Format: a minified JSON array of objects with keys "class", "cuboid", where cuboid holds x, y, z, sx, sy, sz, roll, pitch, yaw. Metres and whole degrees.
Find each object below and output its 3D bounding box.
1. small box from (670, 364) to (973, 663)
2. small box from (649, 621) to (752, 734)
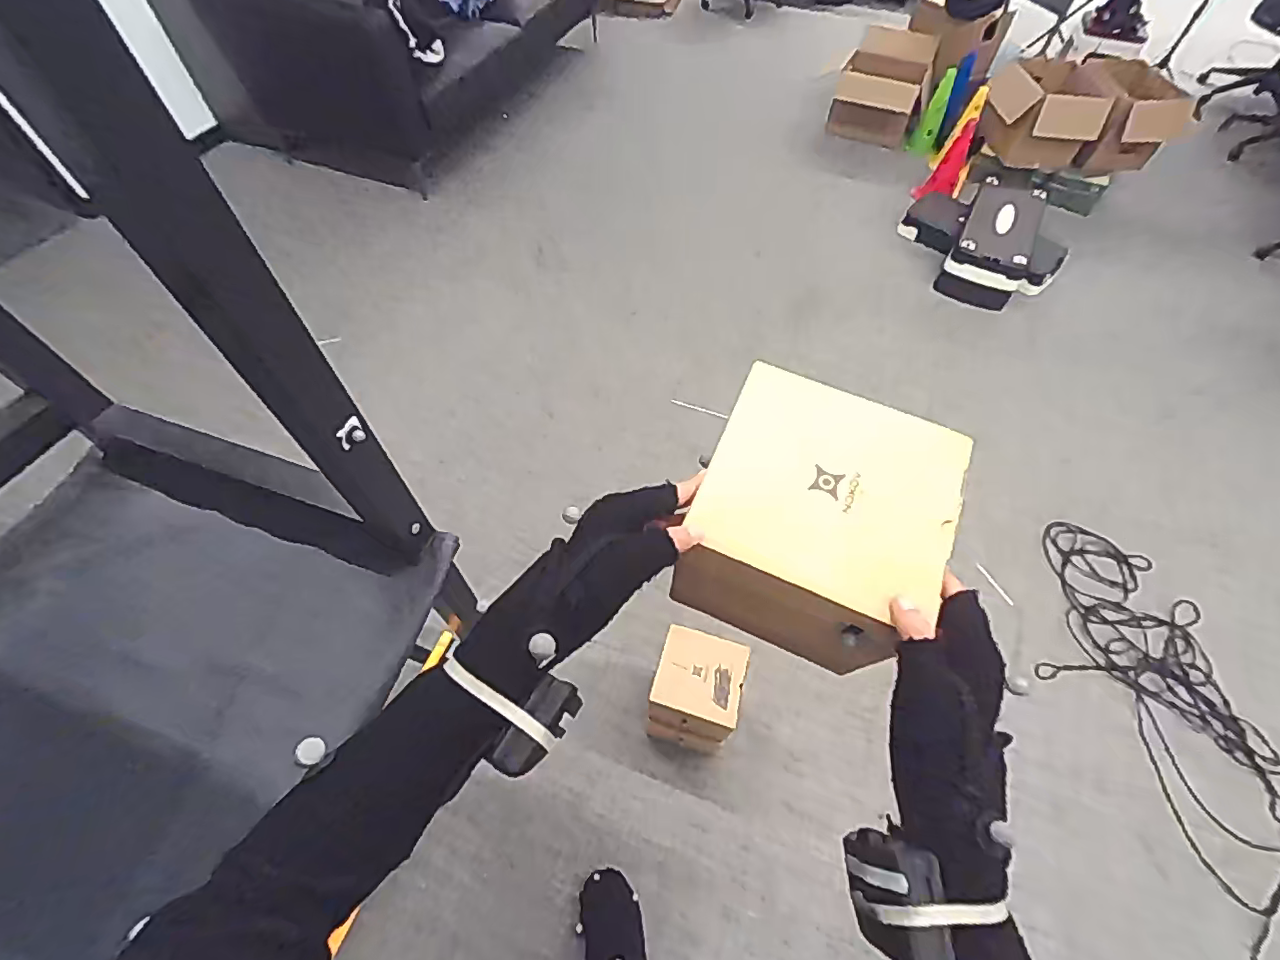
[{"class":"small box","cuboid":[0.133,0.039,0.454,0.179,0.176,0.168,23,68,10]},{"class":"small box","cuboid":[0.125,0.427,1.152,0.179,0.176,0.168,15,58,10]}]
